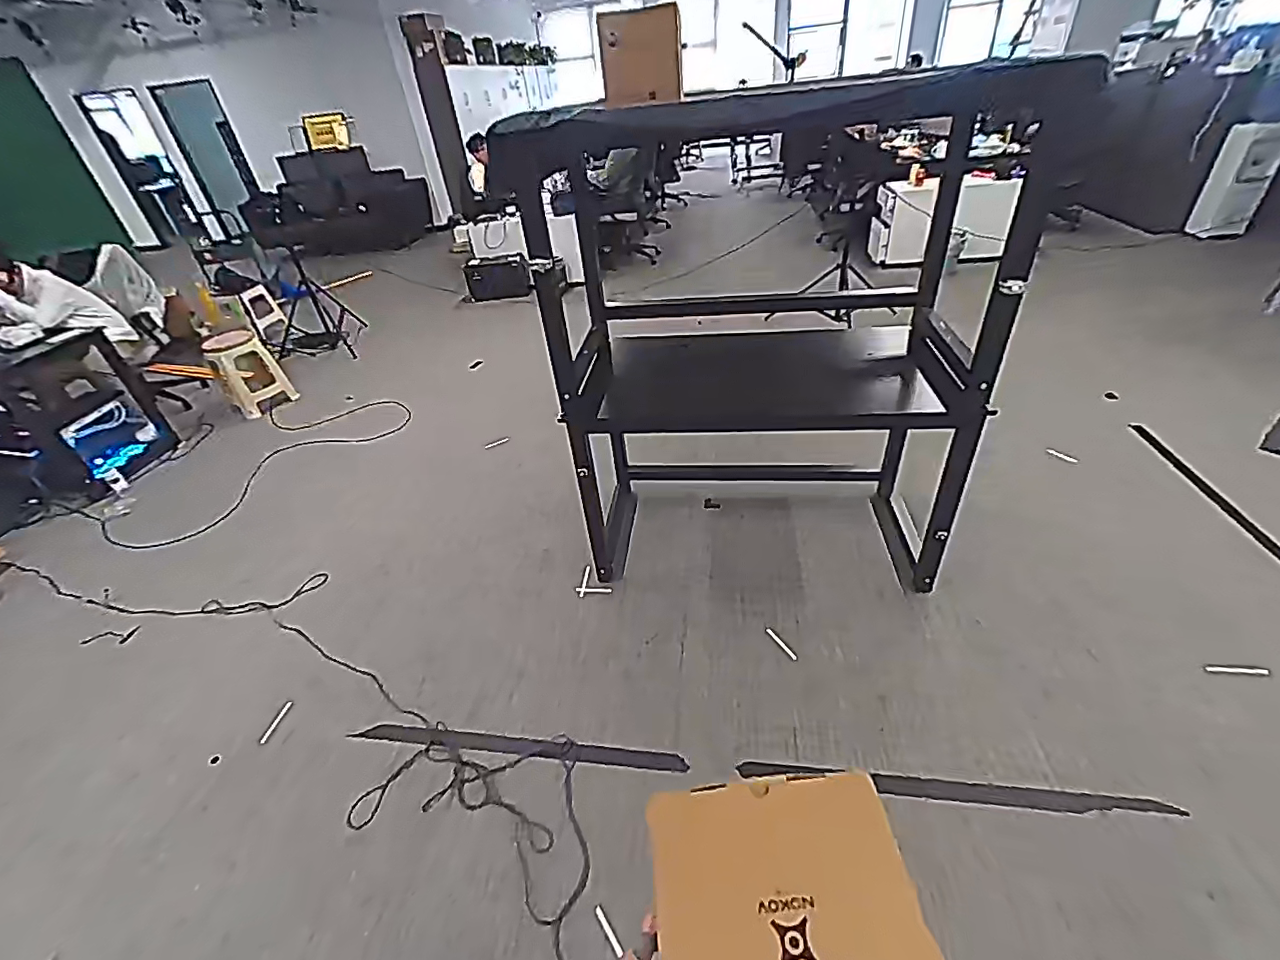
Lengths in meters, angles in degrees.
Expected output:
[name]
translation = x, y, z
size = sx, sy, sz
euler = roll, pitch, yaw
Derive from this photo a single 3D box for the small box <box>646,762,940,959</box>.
[small box]
translation = 0.097, 0.332, 0.382
size = 0.168, 0.176, 0.179
euler = -5, 39, -2
